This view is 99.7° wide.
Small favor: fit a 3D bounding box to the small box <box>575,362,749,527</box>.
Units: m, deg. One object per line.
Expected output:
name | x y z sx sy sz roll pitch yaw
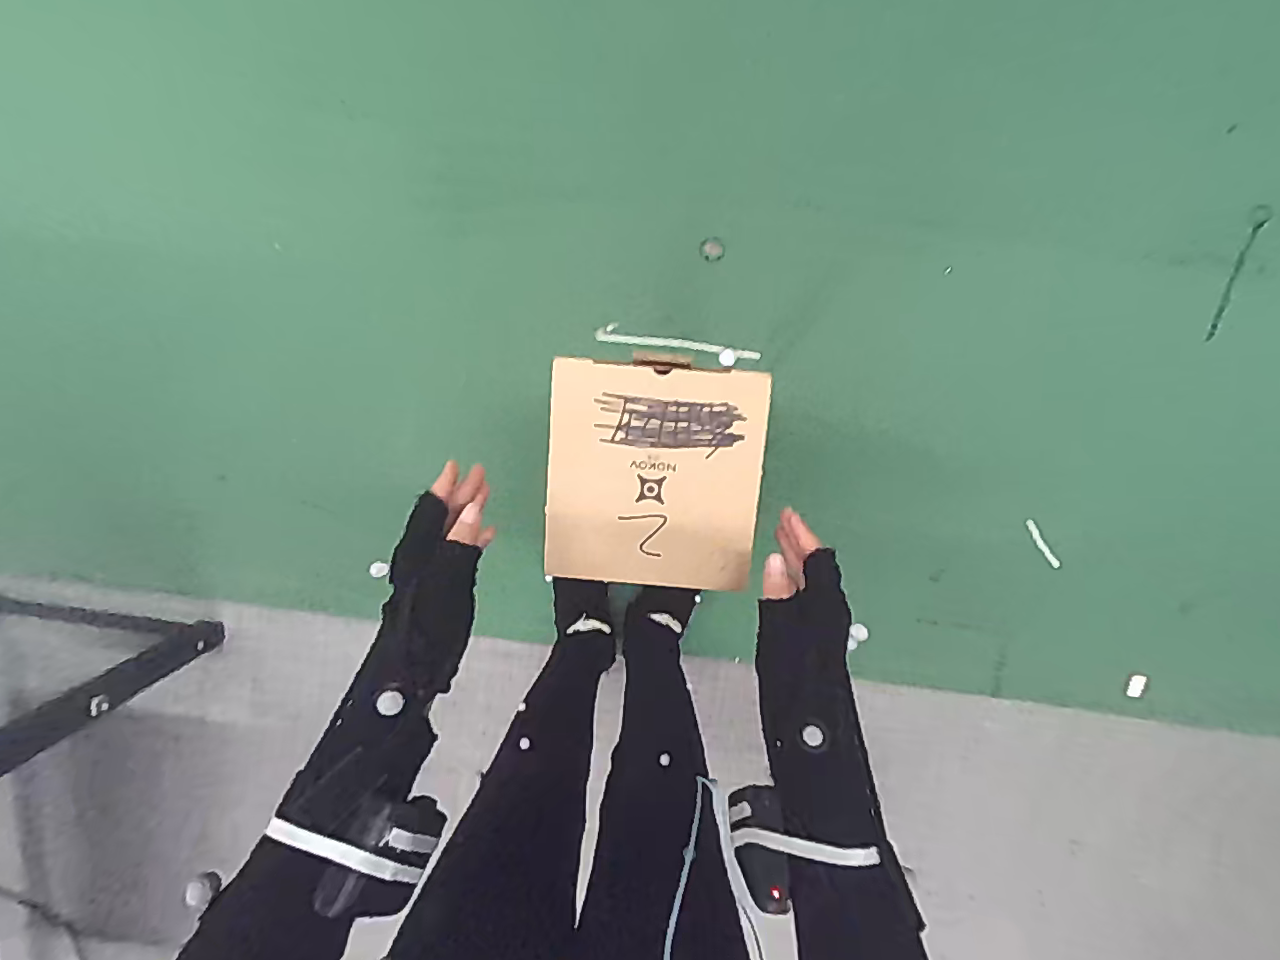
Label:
small box | 0.025 -0.049 0.660 0.179 0.176 0.168 5 100 2
